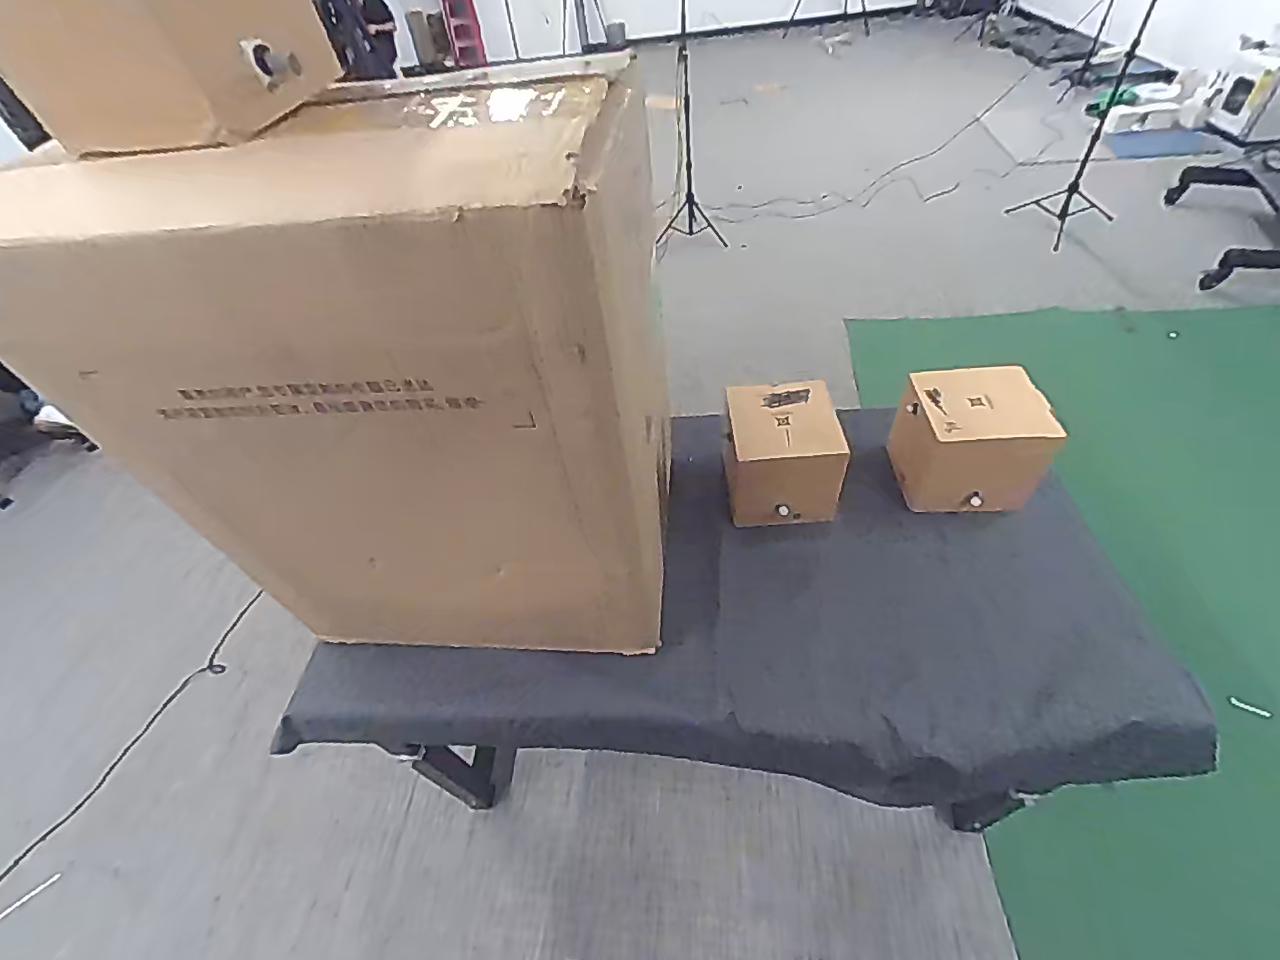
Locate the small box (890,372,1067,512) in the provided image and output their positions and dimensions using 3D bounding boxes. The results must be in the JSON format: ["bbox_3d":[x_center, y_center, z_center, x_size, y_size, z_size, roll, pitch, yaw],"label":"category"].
[{"bbox_3d":[0.540,-0.060,0.893,0.179,0.176,0.168,-1,48,7],"label":"small box"}]

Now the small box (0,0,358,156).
[{"bbox_3d":[-0.374,-0.380,0.431,0.179,0.176,0.168,5,54,10],"label":"small box"}]
